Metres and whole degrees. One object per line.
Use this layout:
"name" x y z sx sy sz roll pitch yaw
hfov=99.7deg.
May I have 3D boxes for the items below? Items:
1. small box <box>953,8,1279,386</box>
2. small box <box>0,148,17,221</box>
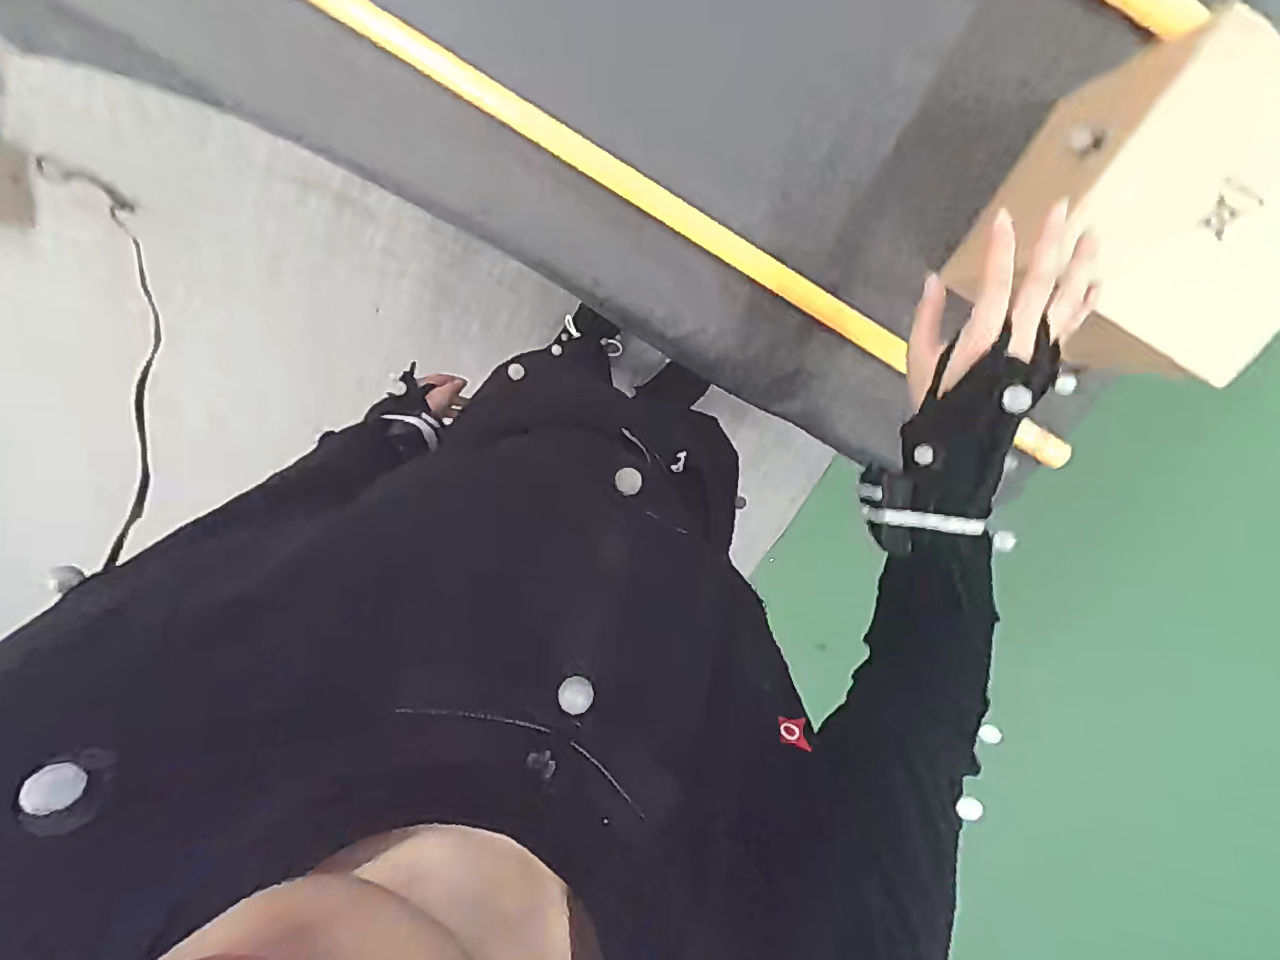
"small box" 0.390 -0.198 0.433 0.168 0.176 0.179 31 107 -2
"small box" -1.624 -0.717 1.262 0.179 0.176 0.168 14 107 2
